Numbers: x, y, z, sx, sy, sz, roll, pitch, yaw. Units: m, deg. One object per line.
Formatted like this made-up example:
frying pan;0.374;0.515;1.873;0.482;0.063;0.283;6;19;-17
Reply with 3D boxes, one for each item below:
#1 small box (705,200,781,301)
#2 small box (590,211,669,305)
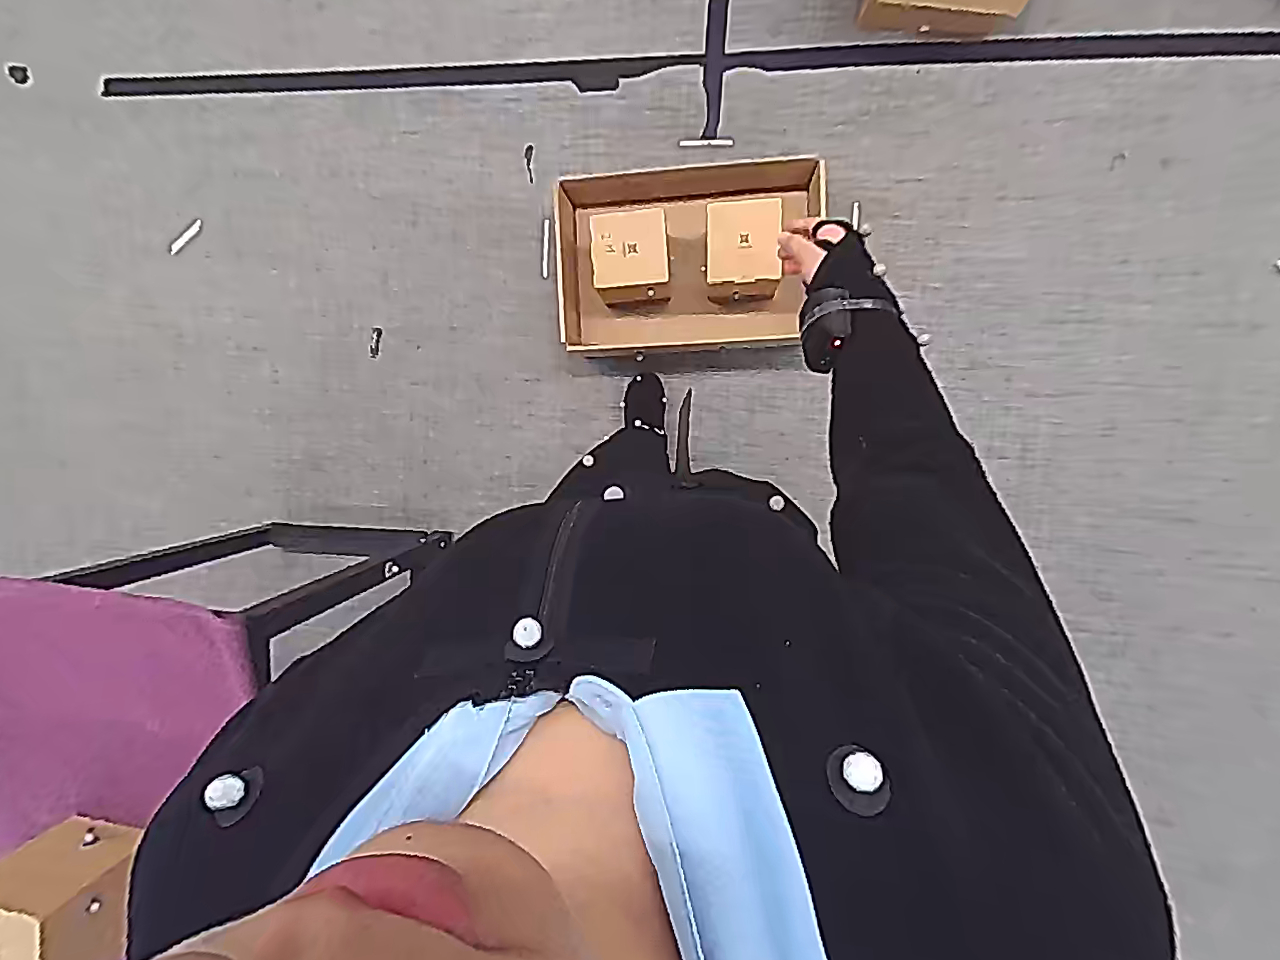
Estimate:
small box;0.239;-0.536;1.282;0.168;0.176;0.179;-1;96;7
small box;-0.019;-0.530;1.310;0.179;0.176;0.168;-3;94;6
